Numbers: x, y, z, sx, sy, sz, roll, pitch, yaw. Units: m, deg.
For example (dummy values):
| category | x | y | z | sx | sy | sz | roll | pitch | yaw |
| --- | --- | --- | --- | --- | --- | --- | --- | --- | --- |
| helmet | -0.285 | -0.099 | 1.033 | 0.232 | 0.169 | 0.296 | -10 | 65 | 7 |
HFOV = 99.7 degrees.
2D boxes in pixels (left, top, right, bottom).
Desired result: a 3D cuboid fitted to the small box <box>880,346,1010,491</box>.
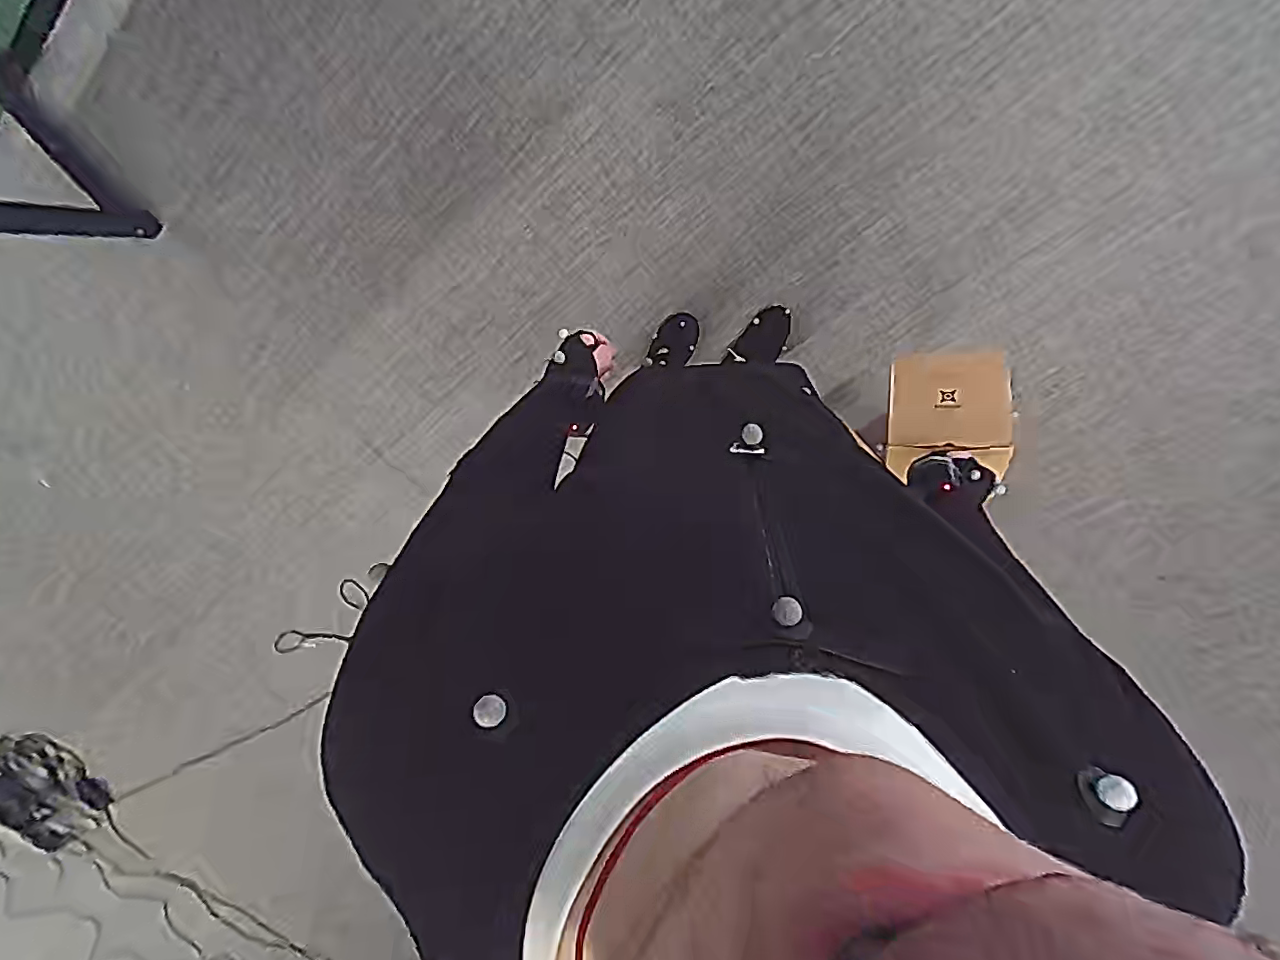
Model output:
| category | x | y | z | sx | sy | sz | roll | pitch | yaw |
| --- | --- | --- | --- | --- | --- | --- | --- | --- | --- |
| small box | 0.489 | -0.093 | 0.888 | 0.168 | 0.179 | 0.176 | 1 | 152 | 22 |
